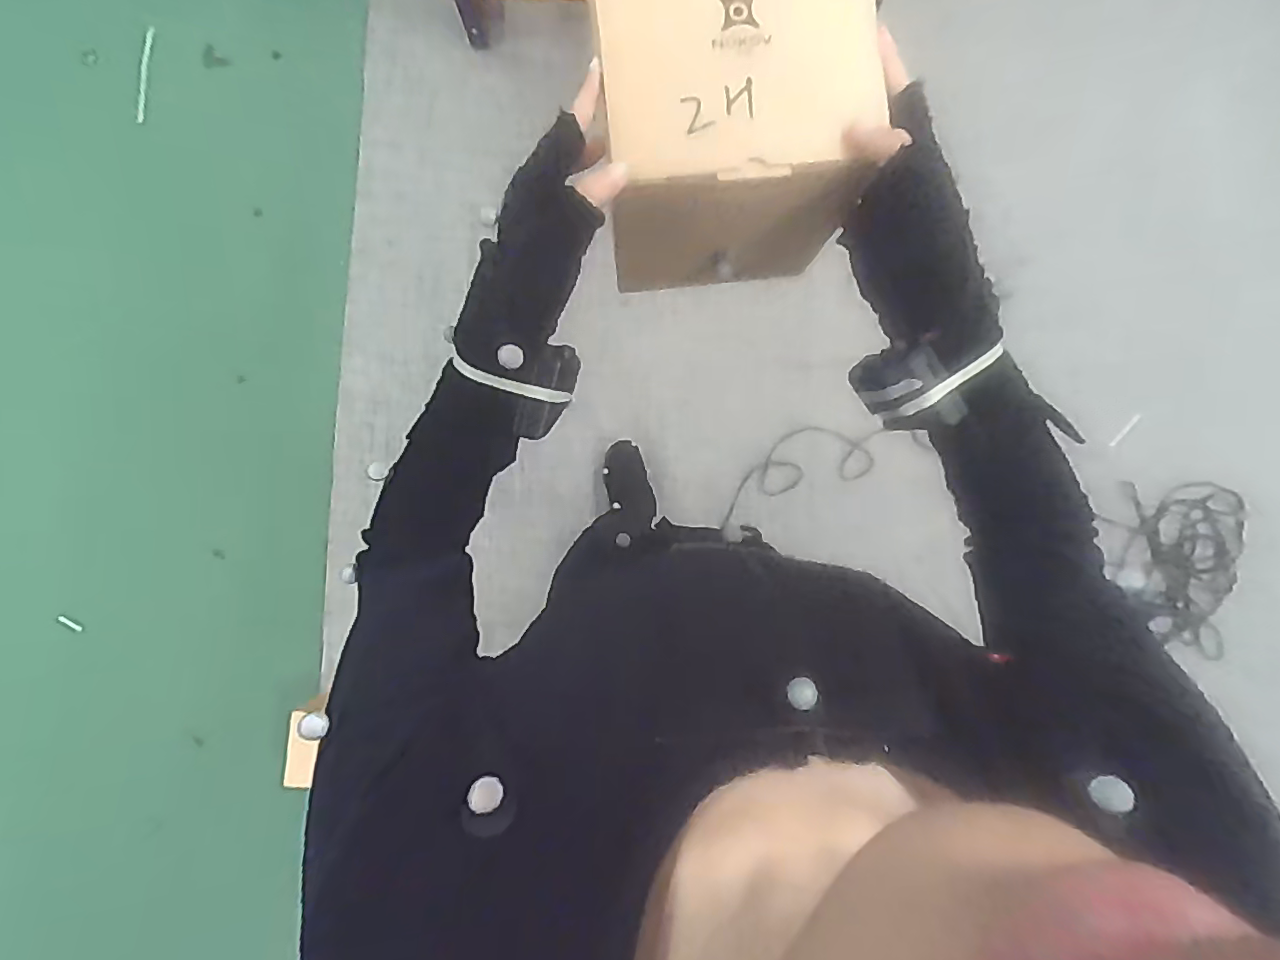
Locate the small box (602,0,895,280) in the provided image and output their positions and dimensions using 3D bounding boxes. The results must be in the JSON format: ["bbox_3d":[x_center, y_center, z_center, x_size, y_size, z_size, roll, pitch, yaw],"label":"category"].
[{"bbox_3d":[0.059,-0.272,0.400,0.168,0.176,0.179,-6,87,-1],"label":"small box"}]

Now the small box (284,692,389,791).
[{"bbox_3d":[-0.751,0.649,1.355,0.168,0.176,0.179,2,84,0],"label":"small box"}]
